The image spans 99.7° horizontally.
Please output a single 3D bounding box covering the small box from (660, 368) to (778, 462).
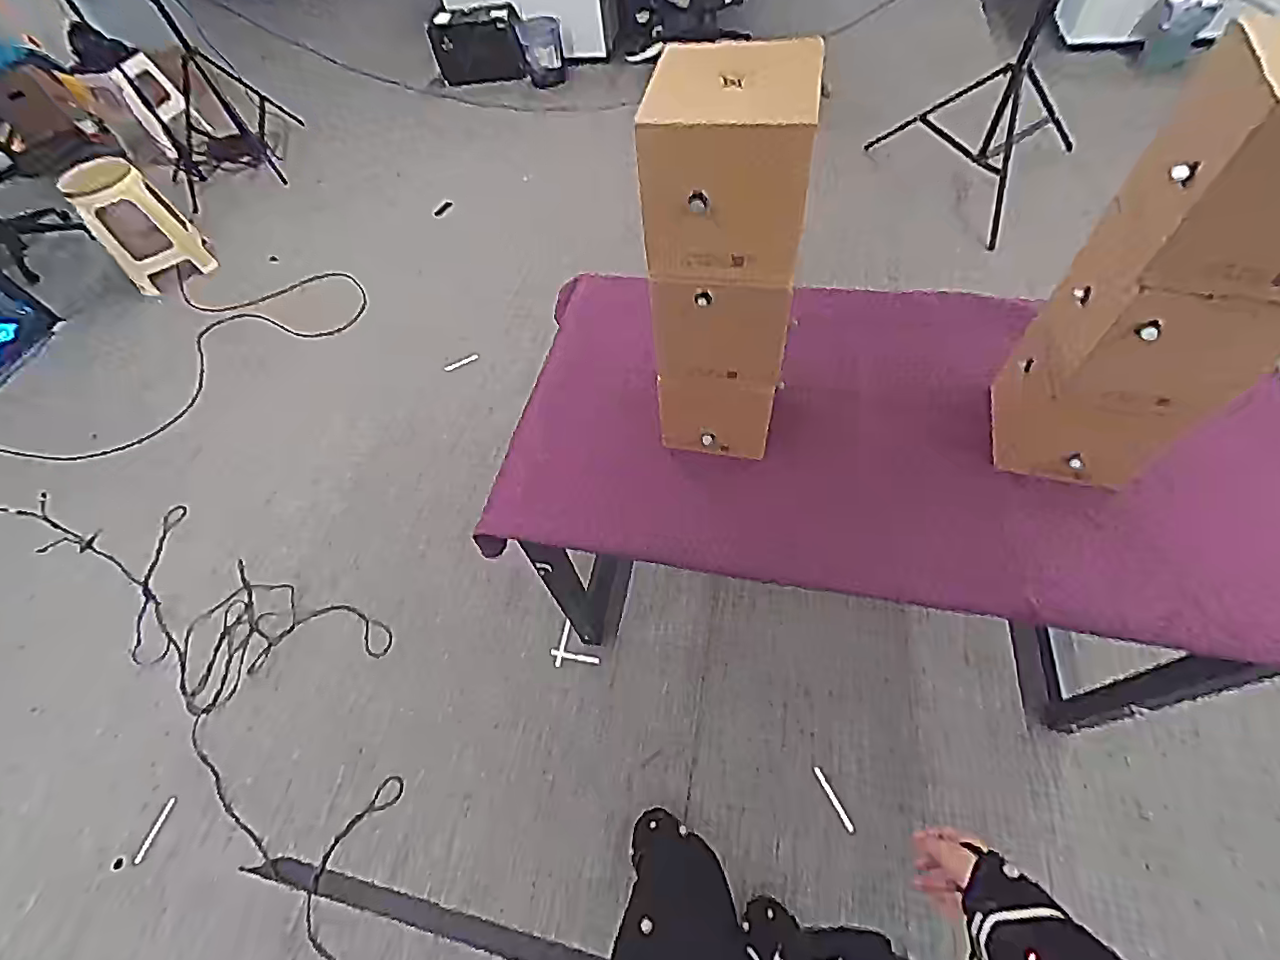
[{"bbox_3d":[0.132,-0.154,0.854,0.168,0.176,0.179,9,59,12],"label":"small box"}]

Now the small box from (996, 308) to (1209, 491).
[{"bbox_3d":[0.631,-0.112,0.767,0.168,0.176,0.179,12,59,15],"label":"small box"}]

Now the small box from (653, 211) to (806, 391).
[{"bbox_3d":[0.118,-0.245,0.718,0.168,0.176,0.179,8,58,12],"label":"small box"}]

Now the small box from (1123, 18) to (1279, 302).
[{"bbox_3d":[0.592,-0.284,0.492,0.168,0.176,0.179,14,59,14],"label":"small box"}]

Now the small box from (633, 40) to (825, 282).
[{"bbox_3d":[0.099,-0.335,0.584,0.168,0.176,0.179,7,58,11],"label":"small box"}]
